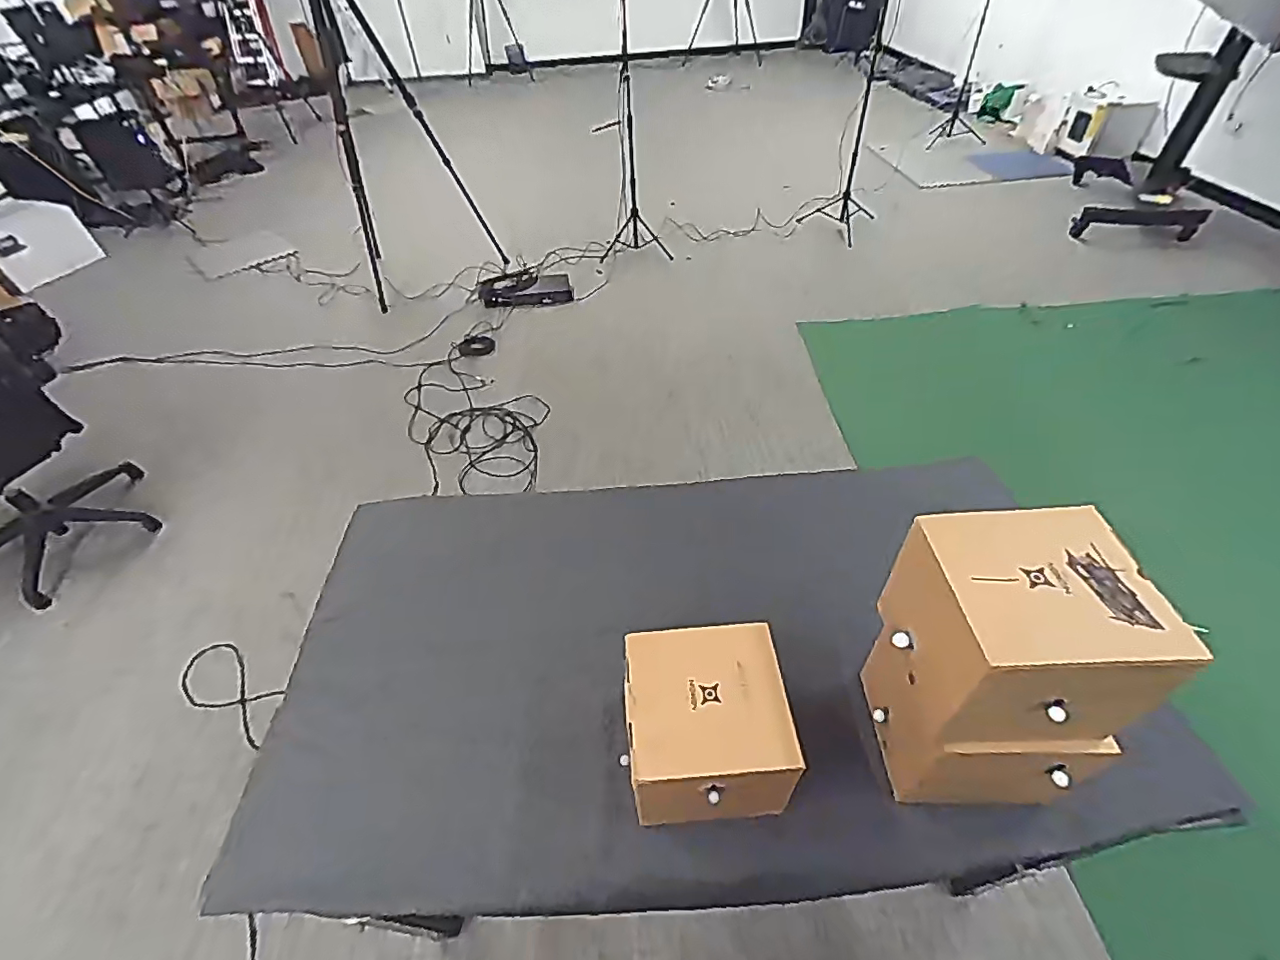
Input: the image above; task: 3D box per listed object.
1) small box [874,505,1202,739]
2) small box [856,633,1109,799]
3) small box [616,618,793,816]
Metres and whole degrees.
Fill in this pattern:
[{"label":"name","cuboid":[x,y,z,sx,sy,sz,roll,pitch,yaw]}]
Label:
[{"label":"small box","cuboid":[0.359,0.142,0.536,0.179,0.176,0.168,-3,45,3]},{"label":"small box","cuboid":[0.381,0.265,0.644,0.179,0.176,0.168,-1,45,3]},{"label":"small box","cuboid":[0.066,0.286,0.648,0.179,0.176,0.168,-4,46,-2]}]
